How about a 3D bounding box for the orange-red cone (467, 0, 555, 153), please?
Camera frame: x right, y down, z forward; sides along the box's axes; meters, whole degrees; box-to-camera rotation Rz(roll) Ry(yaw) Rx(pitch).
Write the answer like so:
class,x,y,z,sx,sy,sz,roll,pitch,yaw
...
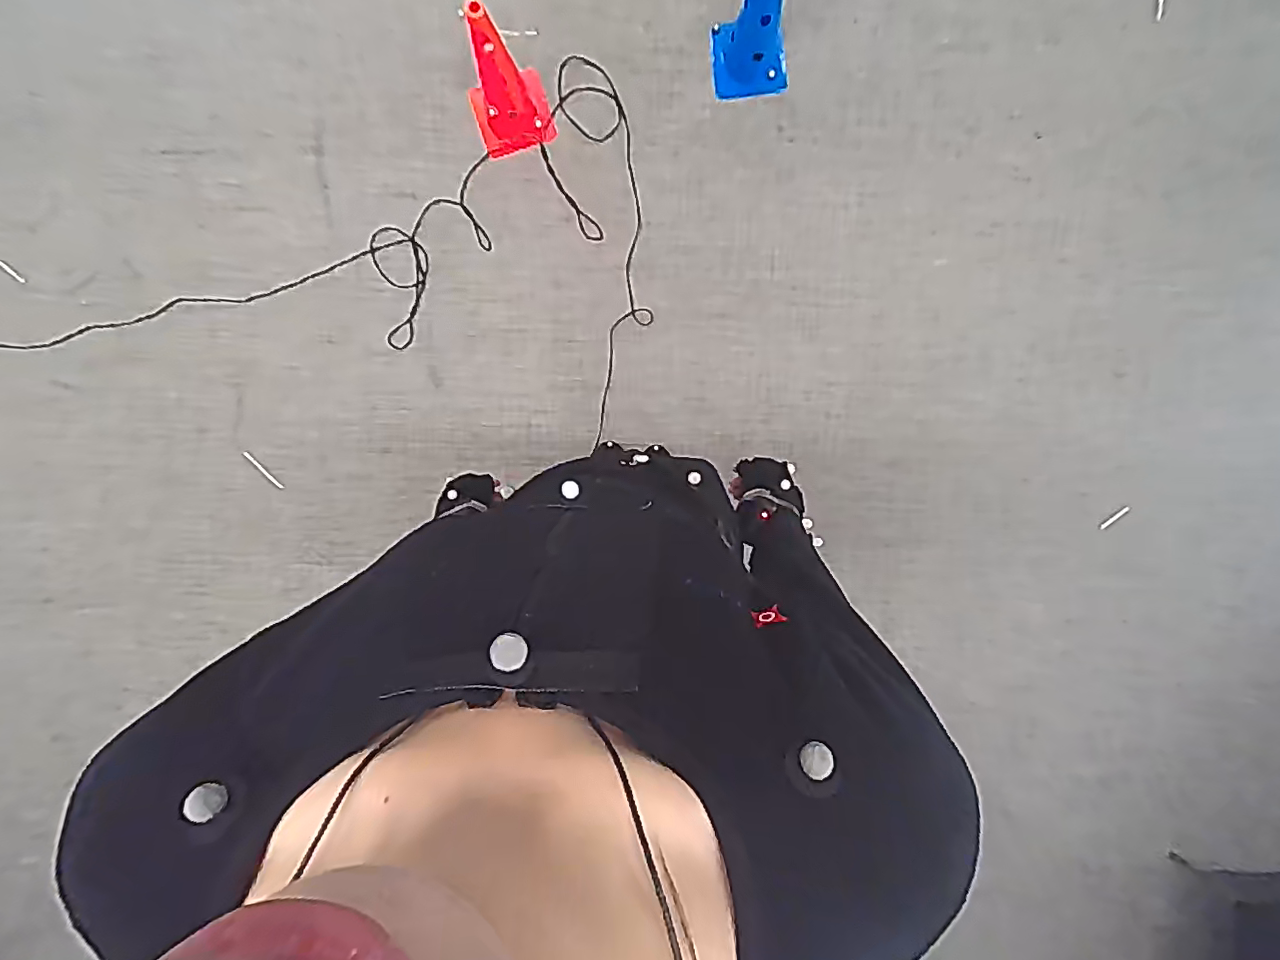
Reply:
class,x,y,z,sx,sy,sz,roll,pitch,yaw
orange-red cone,-0.344,-1.000,1.297,0.198,0.360,0.199,-17,91,0
